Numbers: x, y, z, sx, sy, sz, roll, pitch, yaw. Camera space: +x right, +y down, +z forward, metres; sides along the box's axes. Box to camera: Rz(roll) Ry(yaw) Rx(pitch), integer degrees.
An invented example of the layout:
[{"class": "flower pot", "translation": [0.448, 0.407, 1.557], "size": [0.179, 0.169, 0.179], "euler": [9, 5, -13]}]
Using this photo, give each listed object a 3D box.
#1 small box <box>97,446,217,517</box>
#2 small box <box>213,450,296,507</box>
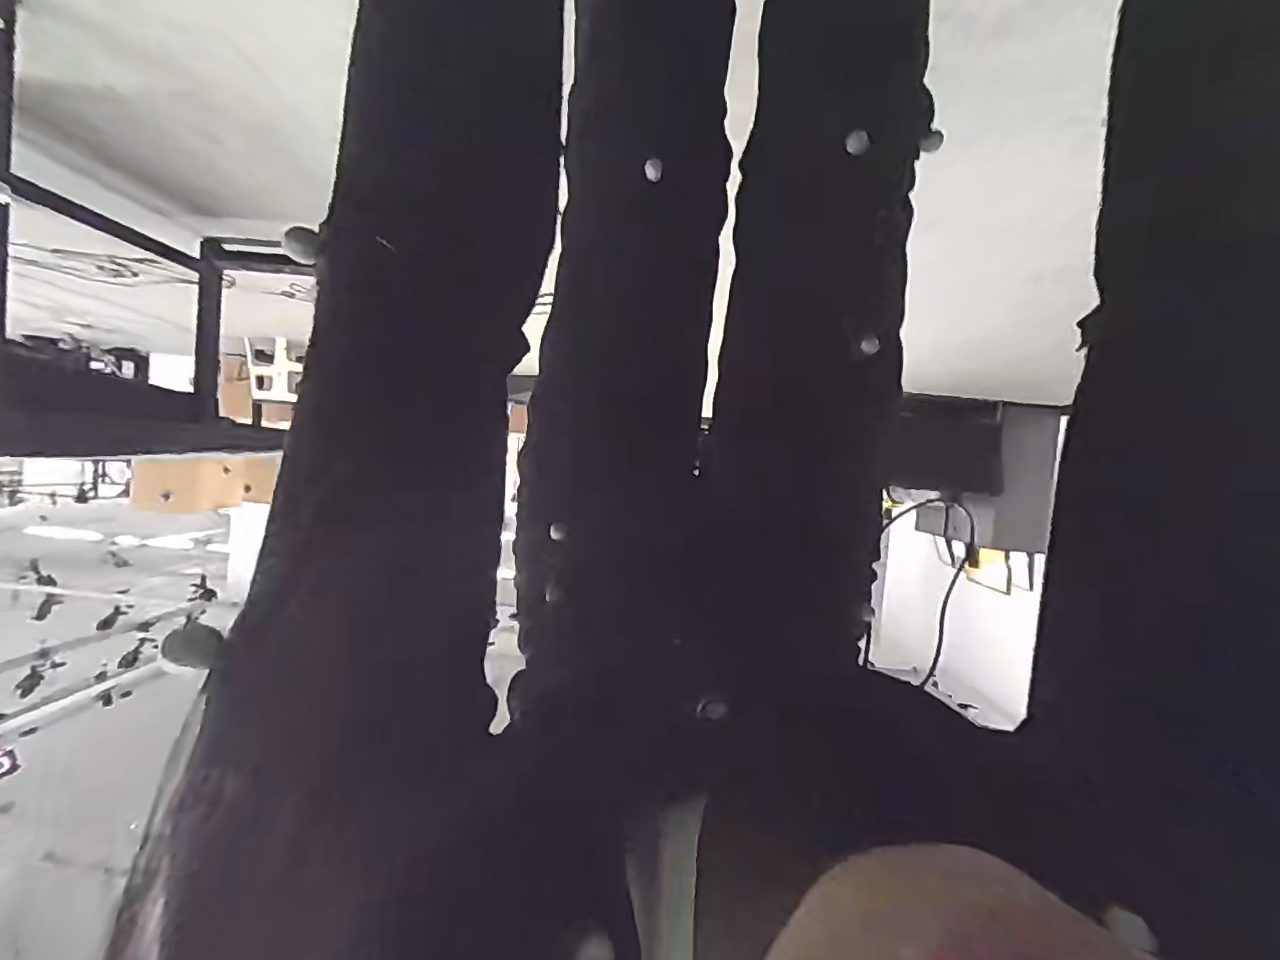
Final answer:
[{"class": "small box", "translation": [-1.242, 0.000, 1.403], "size": [0.179, 0.176, 0.168], "euler": [4, -178, -3]}, {"class": "small box", "translation": [-1.238, -0.010, 1.735], "size": [0.179, 0.176, 0.168], "euler": [4, -178, -4]}]
